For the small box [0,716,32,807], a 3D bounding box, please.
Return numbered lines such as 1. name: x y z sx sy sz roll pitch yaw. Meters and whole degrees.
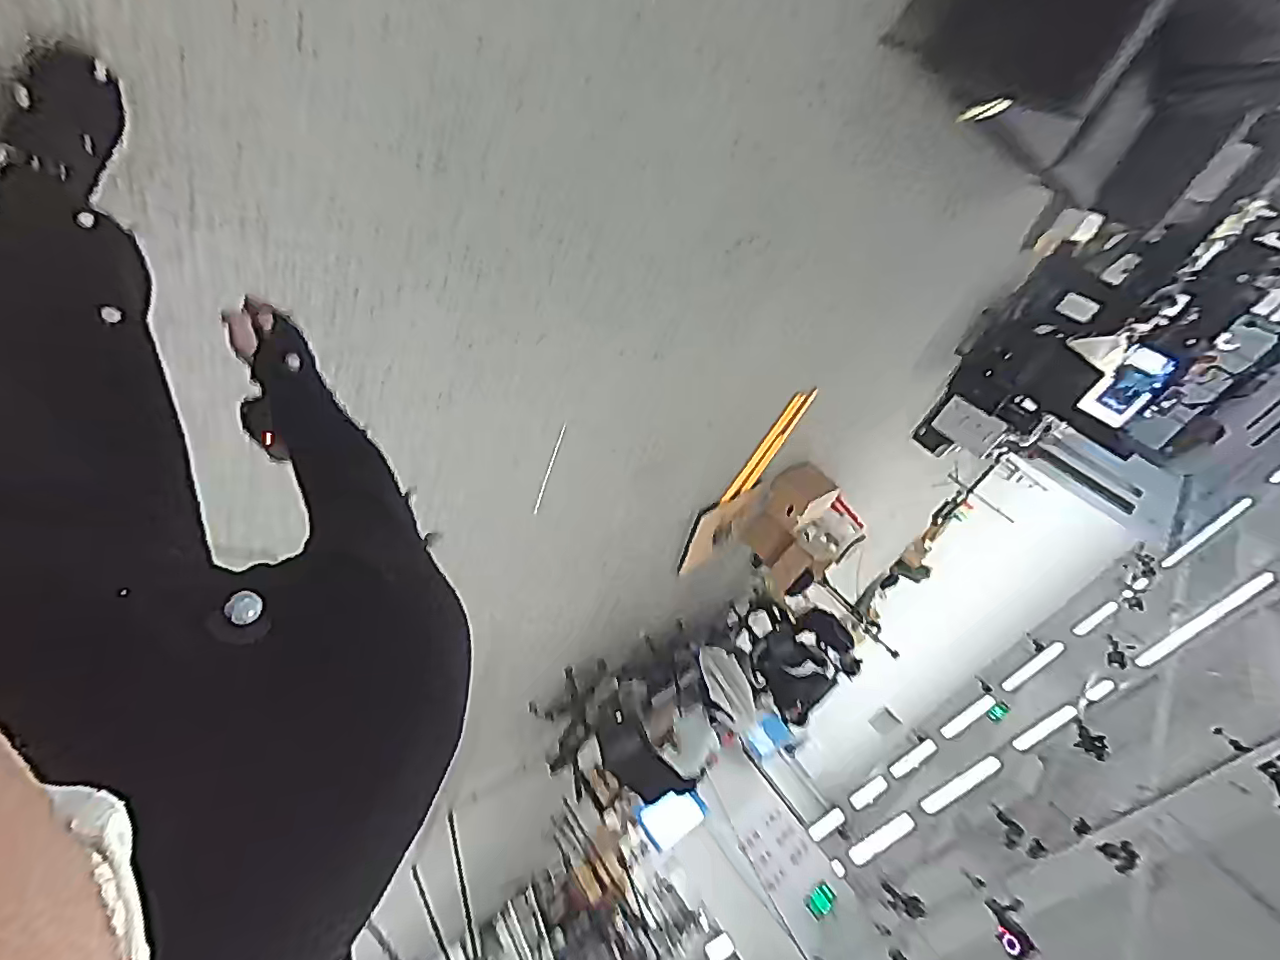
1. small box: -1.744 0.761 1.420 0.179 0.176 0.168 -11 138 -43
